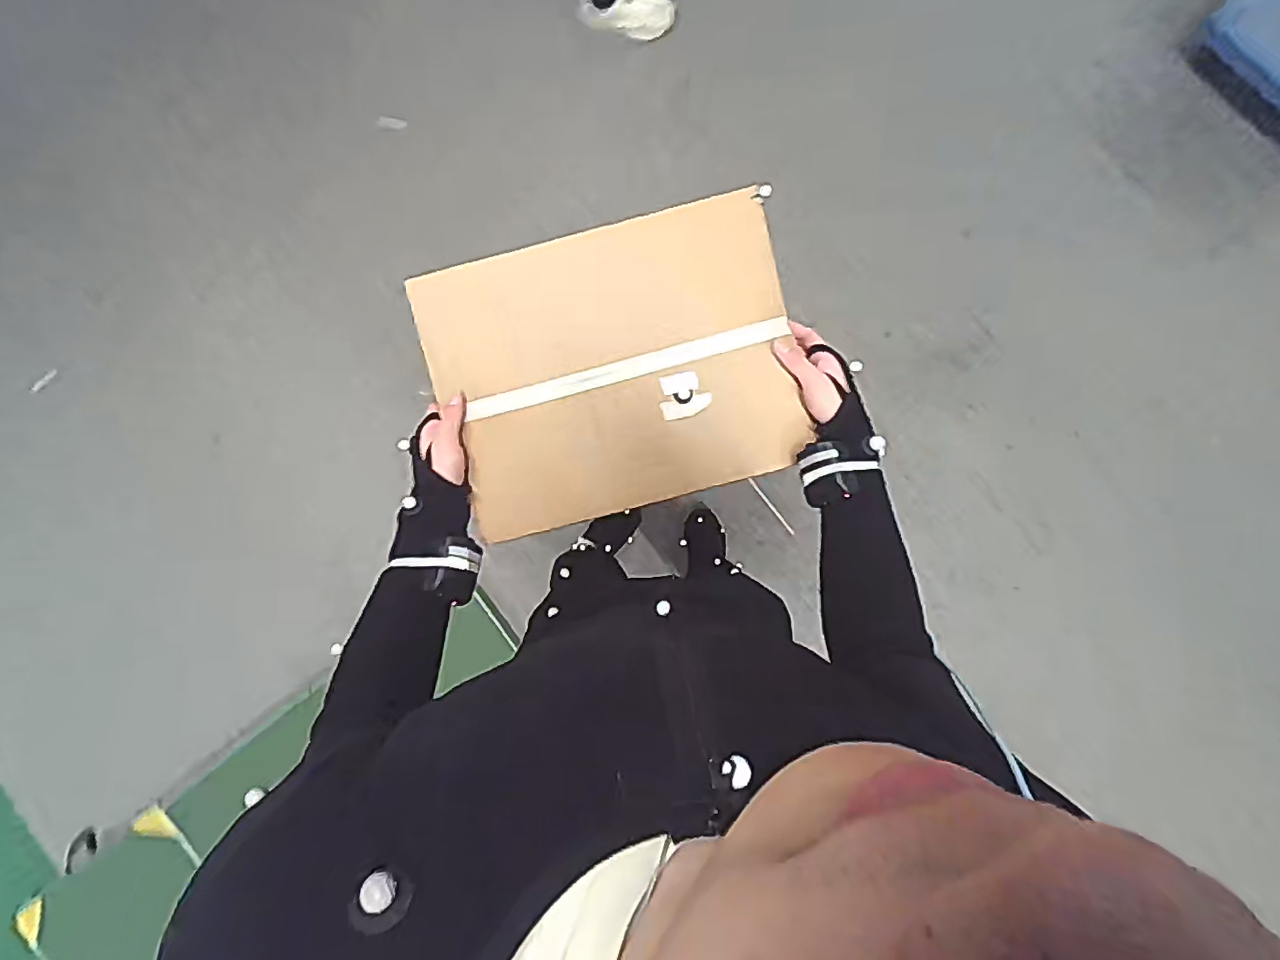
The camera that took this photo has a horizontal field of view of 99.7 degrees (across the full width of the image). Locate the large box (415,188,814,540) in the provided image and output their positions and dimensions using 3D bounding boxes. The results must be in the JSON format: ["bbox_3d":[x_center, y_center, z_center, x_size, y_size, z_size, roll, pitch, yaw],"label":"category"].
[{"bbox_3d":[-0.030,-0.140,0.770,0.408,0.320,0.320,-16,96,0],"label":"large box"}]
